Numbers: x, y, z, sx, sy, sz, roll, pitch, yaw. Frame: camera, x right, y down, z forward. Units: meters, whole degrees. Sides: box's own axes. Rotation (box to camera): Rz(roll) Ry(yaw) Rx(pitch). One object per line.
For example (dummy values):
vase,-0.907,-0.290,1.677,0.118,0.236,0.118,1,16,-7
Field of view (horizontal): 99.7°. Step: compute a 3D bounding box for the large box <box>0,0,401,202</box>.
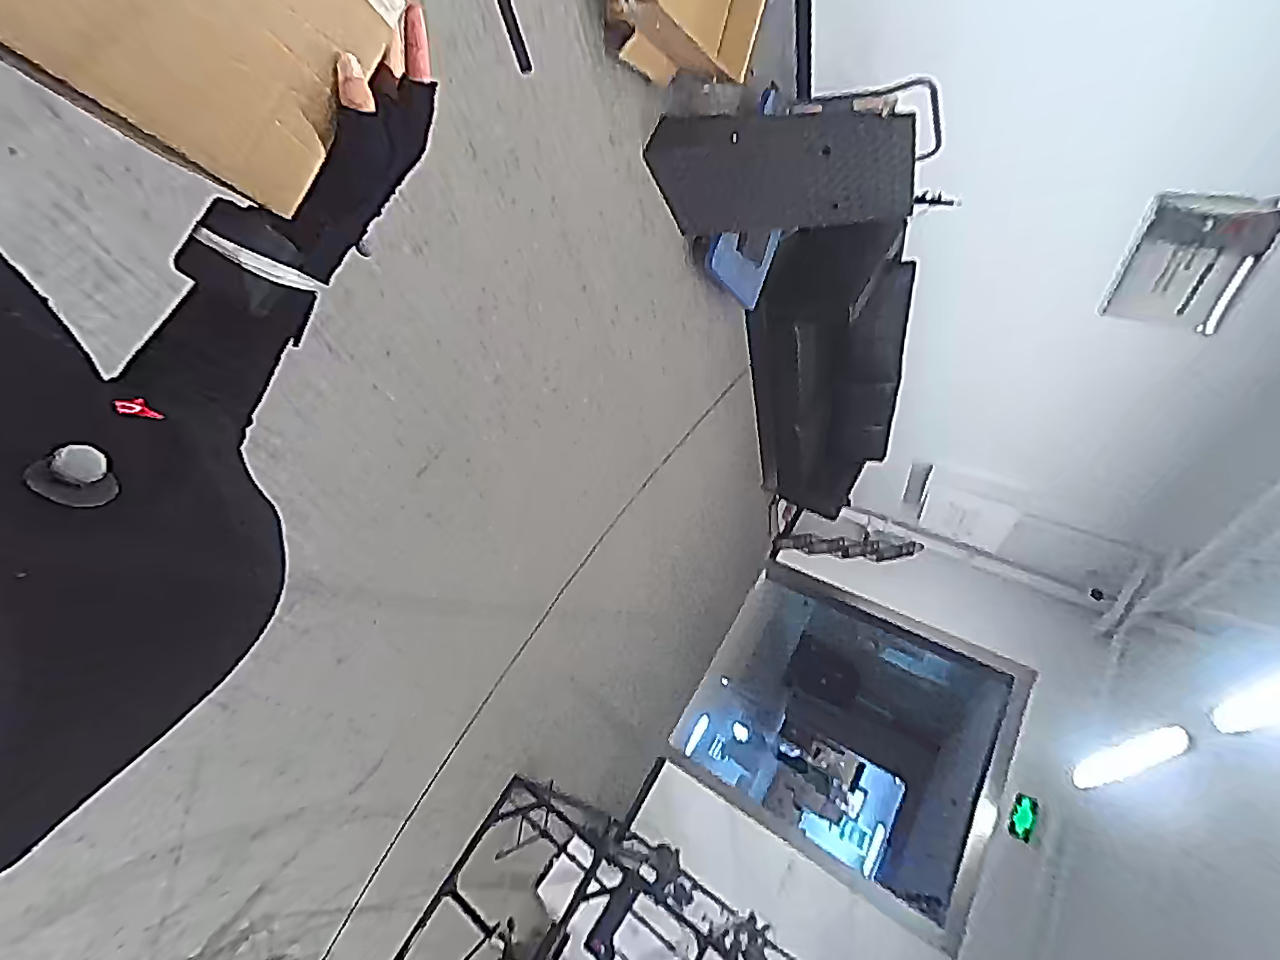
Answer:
large box,-0.377,-0.436,0.290,0.320,0.320,0.408,-59,147,3
